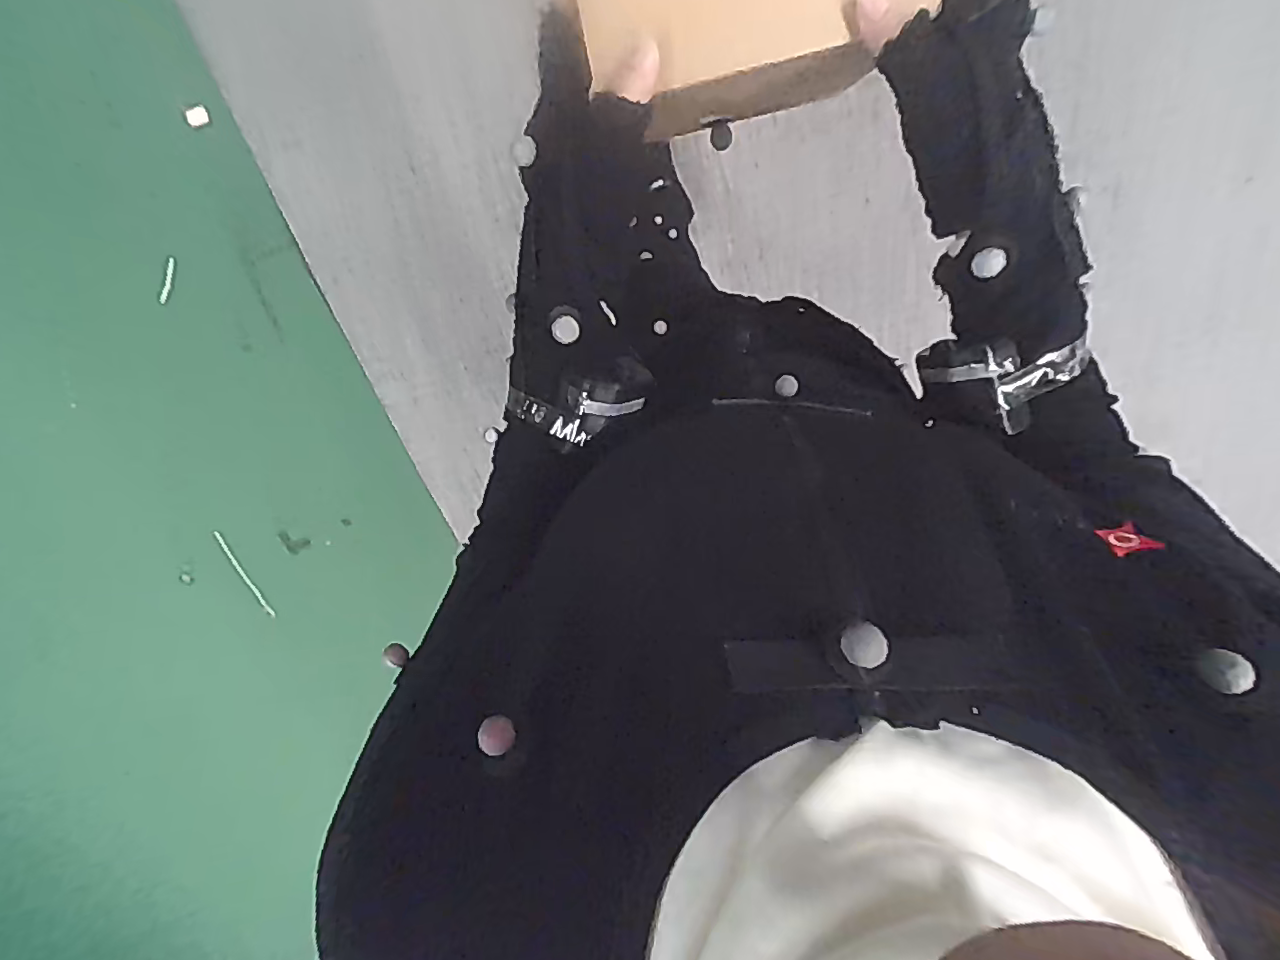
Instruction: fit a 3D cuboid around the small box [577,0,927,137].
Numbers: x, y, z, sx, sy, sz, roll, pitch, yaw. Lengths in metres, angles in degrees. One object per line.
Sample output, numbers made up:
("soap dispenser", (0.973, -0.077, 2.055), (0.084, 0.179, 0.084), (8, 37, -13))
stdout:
("small box", (0.044, -0.320, 0.303), (0.168, 0.176, 0.179), (-9, 114, 7))
